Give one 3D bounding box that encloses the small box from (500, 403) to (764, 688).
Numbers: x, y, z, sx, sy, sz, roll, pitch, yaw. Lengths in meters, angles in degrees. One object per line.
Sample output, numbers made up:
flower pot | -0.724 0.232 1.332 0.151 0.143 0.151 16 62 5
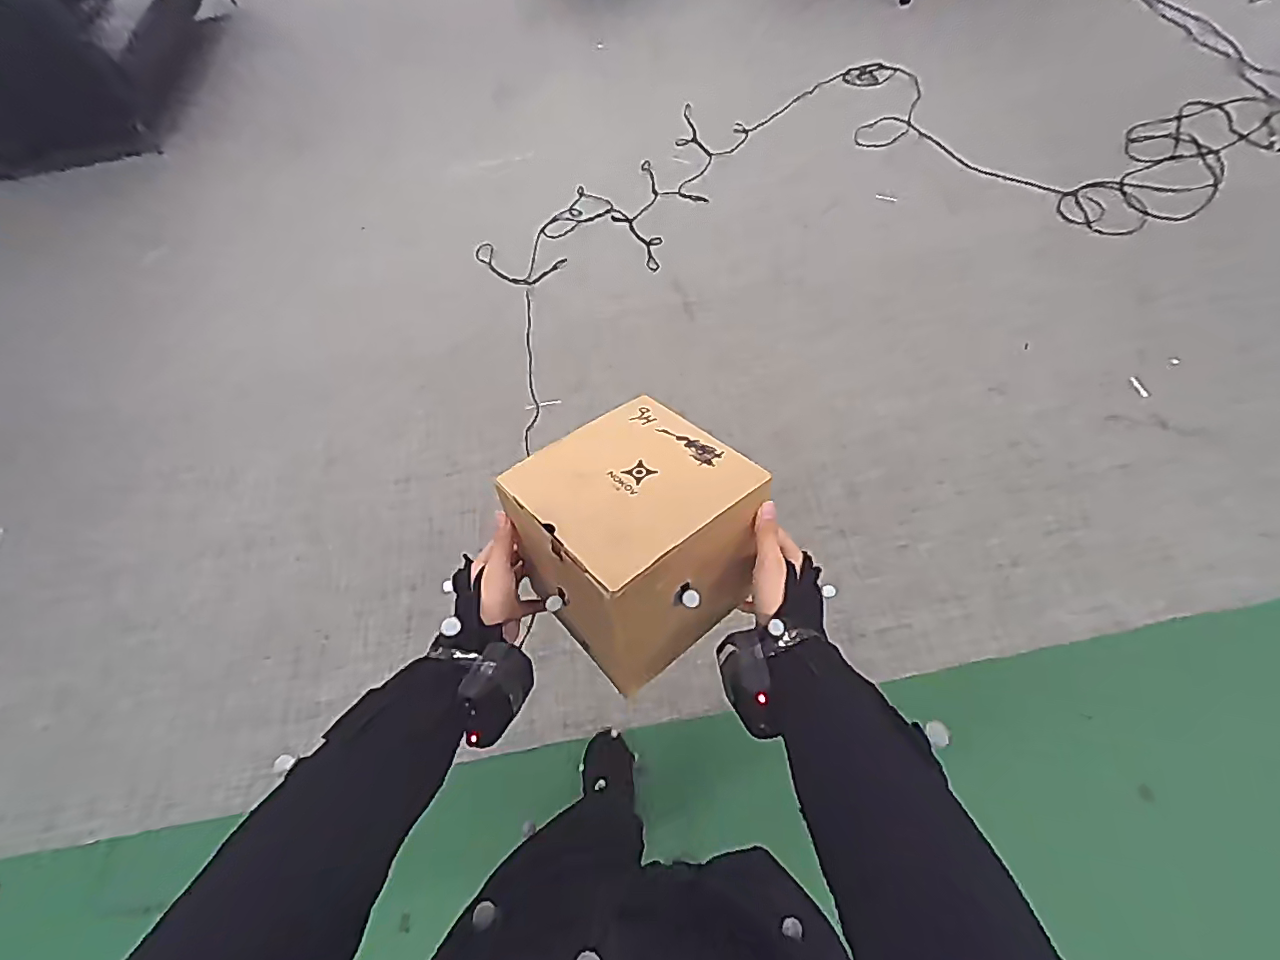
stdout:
small box | -0.002 0.062 0.521 0.179 0.176 0.168 -34 51 -25
